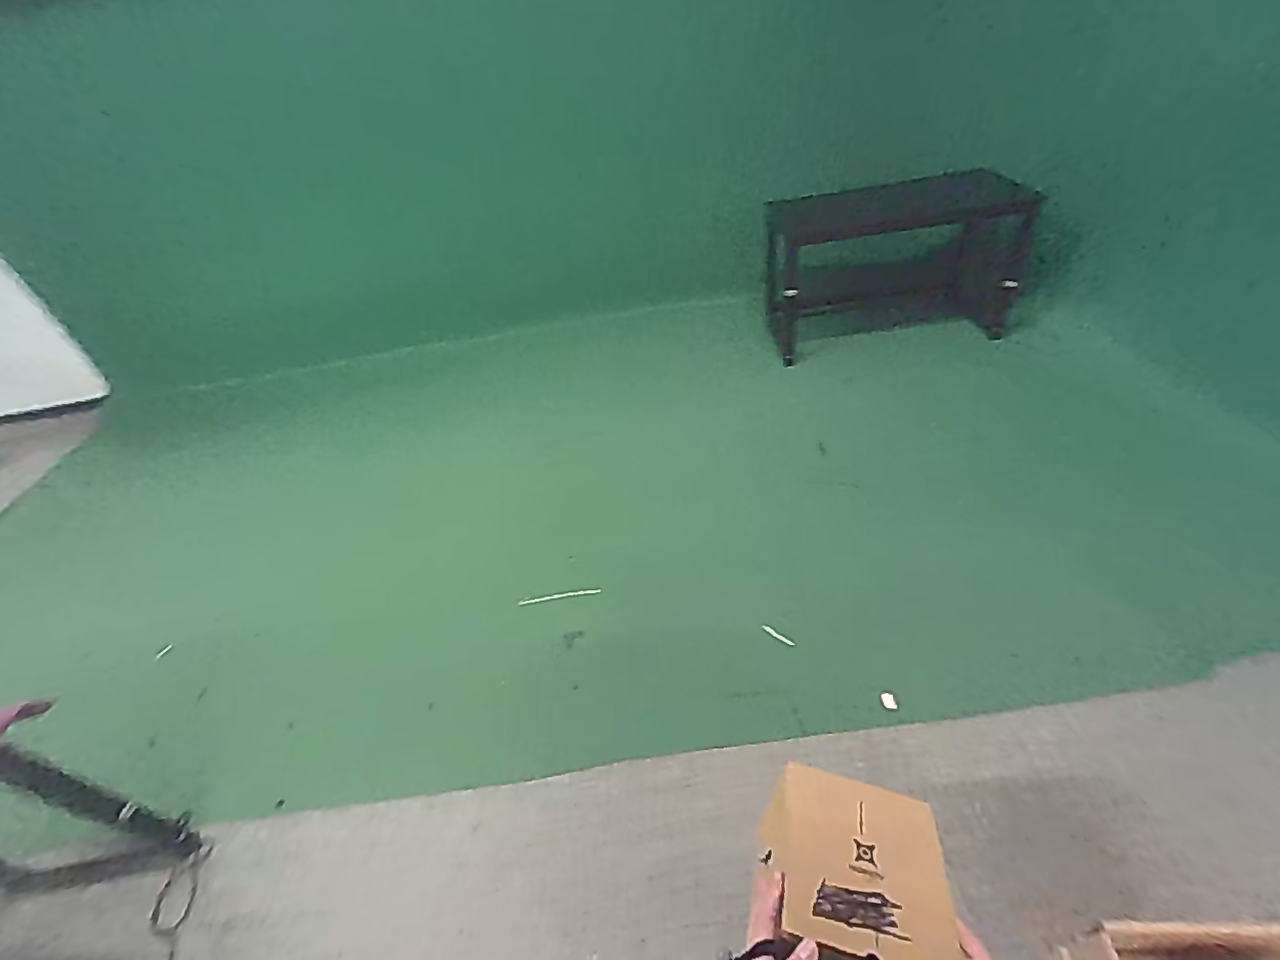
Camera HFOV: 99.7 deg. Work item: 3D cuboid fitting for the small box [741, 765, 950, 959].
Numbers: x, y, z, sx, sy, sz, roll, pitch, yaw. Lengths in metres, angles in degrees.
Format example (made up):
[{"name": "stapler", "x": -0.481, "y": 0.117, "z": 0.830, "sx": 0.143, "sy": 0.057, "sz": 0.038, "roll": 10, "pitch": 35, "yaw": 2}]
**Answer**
[{"name": "small box", "x": 0.212, "y": 0.464, "z": 0.597, "sx": 0.168, "sy": 0.176, "sz": 0.179, "roll": 13, "pitch": 31, "yaw": 9}]
